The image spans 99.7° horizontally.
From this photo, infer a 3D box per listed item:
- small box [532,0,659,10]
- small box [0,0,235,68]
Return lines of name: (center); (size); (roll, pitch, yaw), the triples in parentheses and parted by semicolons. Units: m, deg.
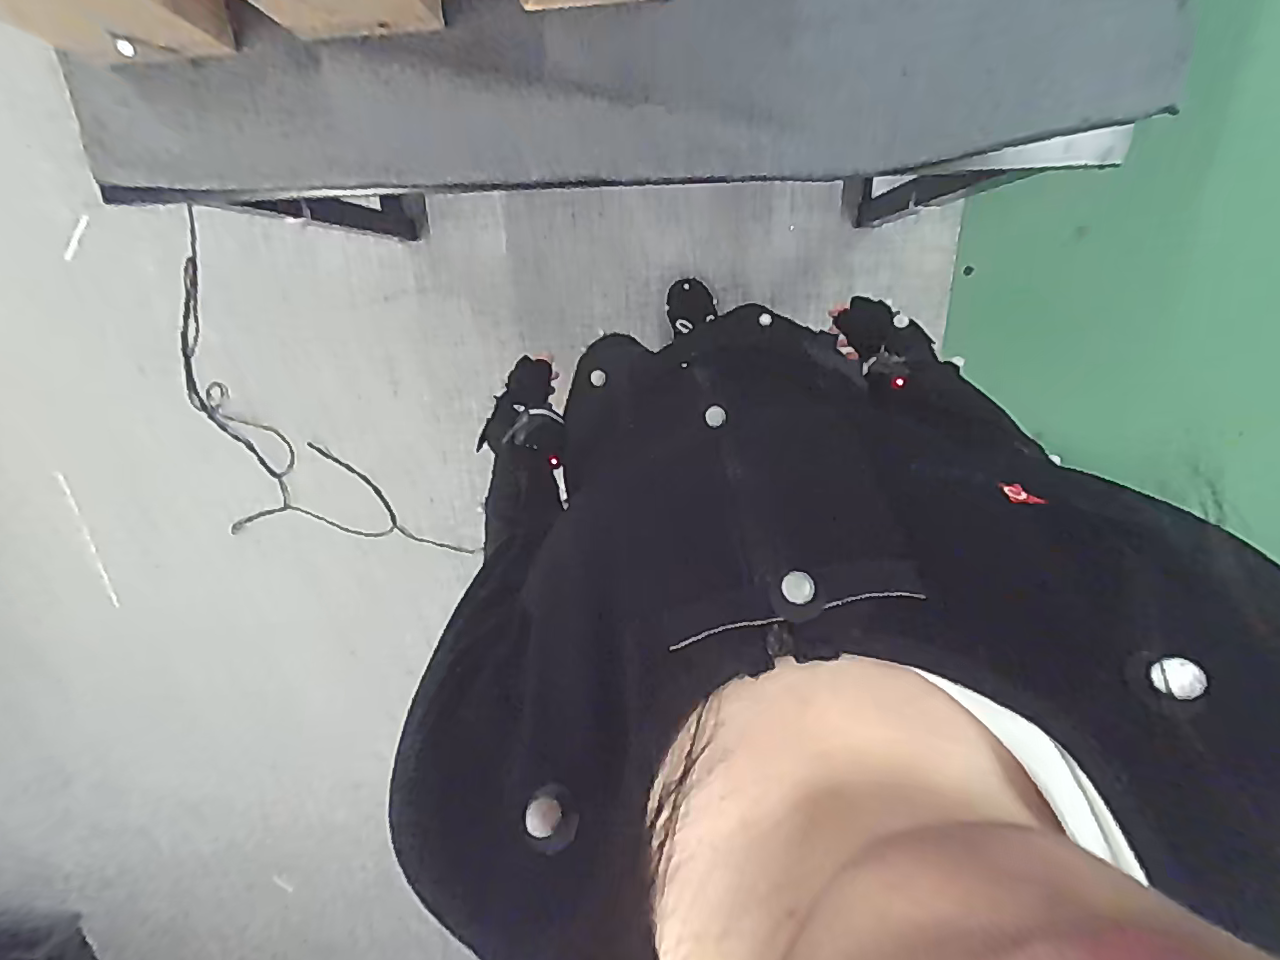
small box: (-0.051, -0.565, 0.475); (0.168, 0.176, 0.179); (-2, 109, 4)
small box: (-0.536, -0.529, 0.507); (0.168, 0.176, 0.179); (-3, 107, 3)
